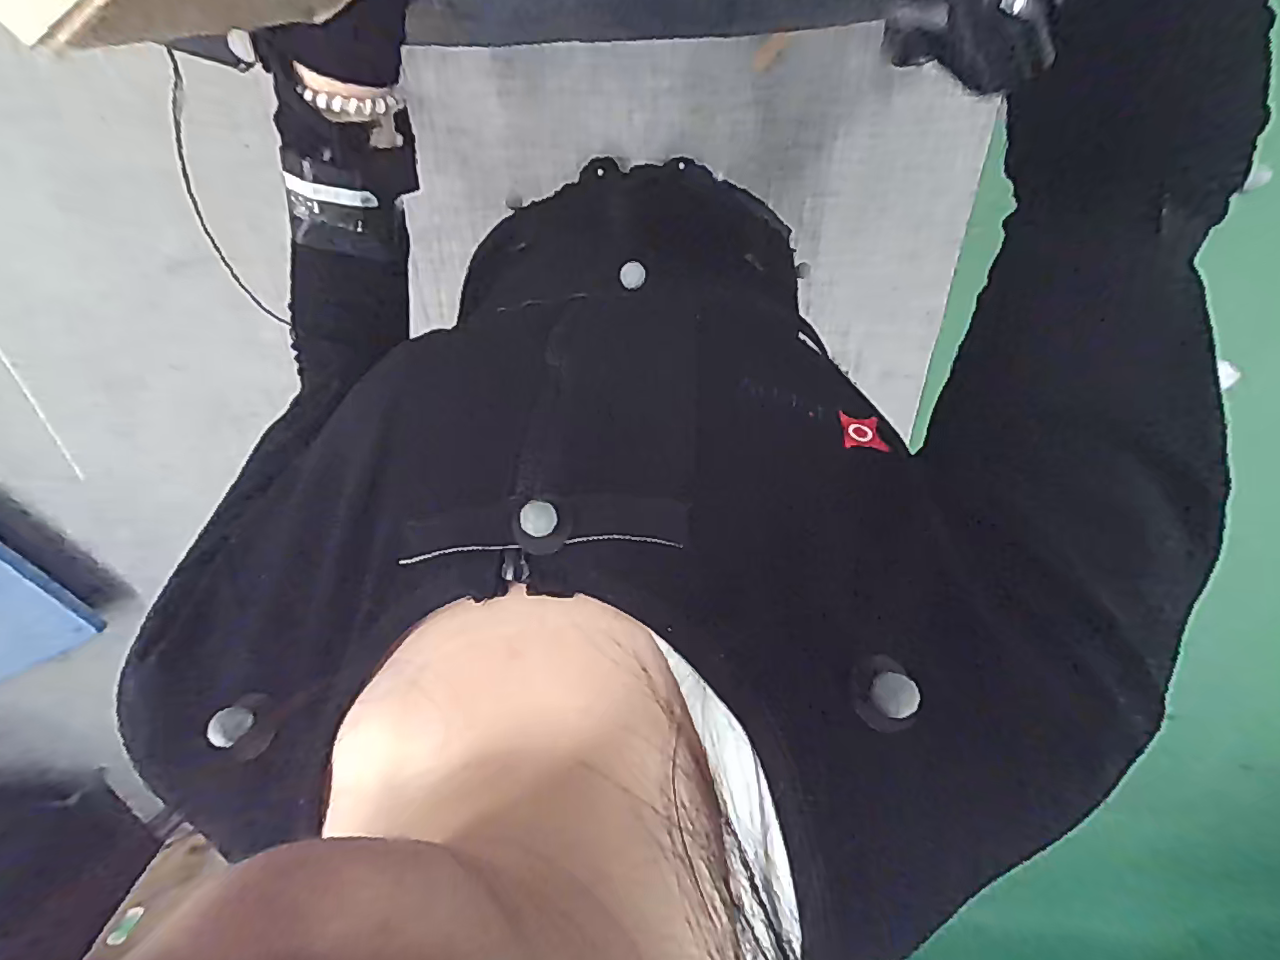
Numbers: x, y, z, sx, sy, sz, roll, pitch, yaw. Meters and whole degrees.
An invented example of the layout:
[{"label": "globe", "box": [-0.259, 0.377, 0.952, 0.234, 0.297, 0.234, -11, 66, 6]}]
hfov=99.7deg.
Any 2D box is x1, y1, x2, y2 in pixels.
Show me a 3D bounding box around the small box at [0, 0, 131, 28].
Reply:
[{"label": "small box", "box": [-0.129, -0.257, 0.130, 0.168, 0.176, 0.179, -19, 131, 19]}]
